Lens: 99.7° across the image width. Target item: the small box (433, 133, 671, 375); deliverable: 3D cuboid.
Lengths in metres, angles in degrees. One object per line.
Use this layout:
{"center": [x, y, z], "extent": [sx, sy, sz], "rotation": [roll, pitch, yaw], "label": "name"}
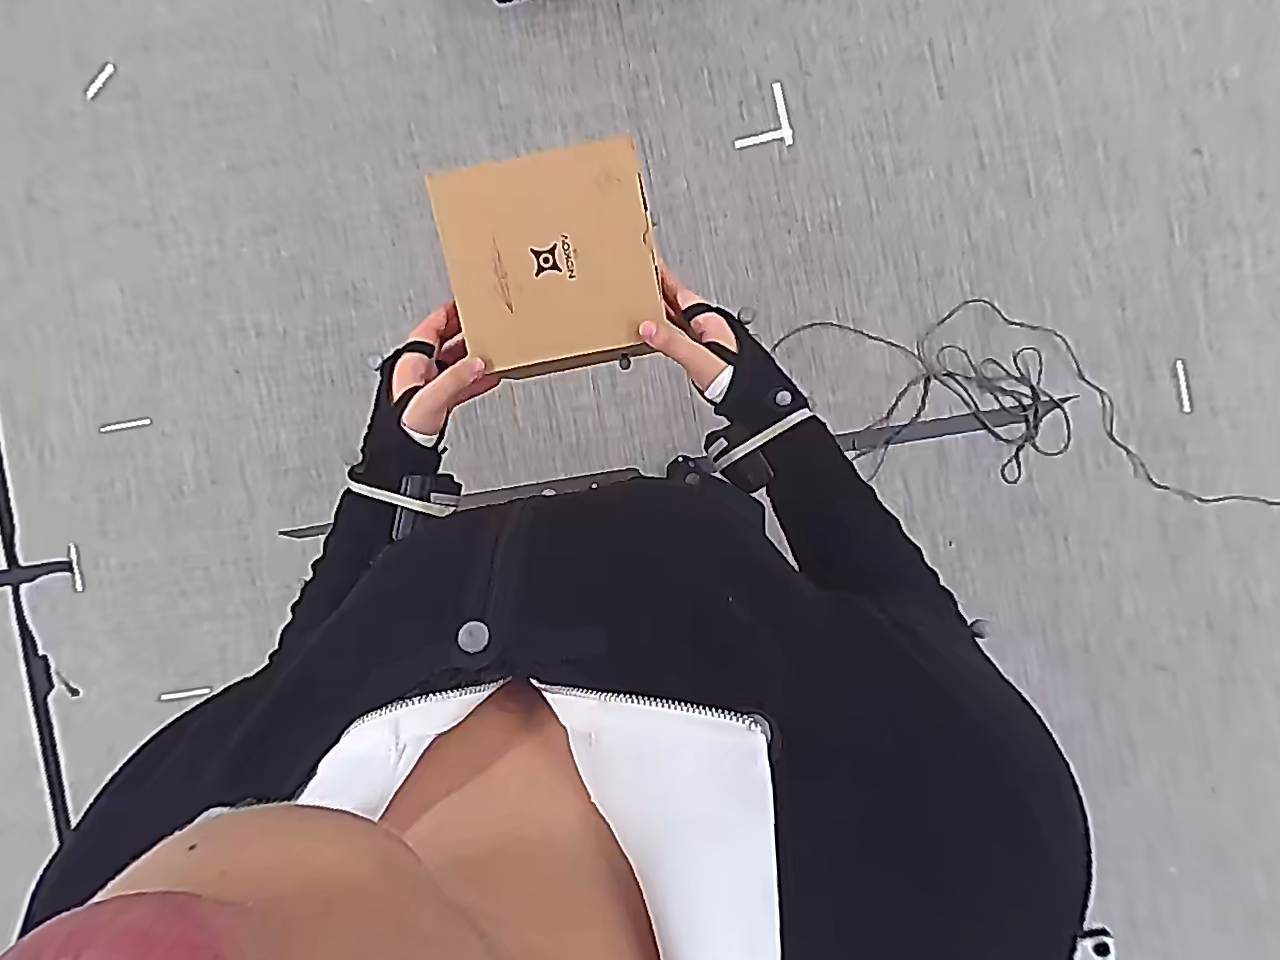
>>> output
{"center": [-0.073, -0.203, 0.536], "extent": [0.179, 0.176, 0.168], "rotation": [-12, 98, 2], "label": "small box"}
